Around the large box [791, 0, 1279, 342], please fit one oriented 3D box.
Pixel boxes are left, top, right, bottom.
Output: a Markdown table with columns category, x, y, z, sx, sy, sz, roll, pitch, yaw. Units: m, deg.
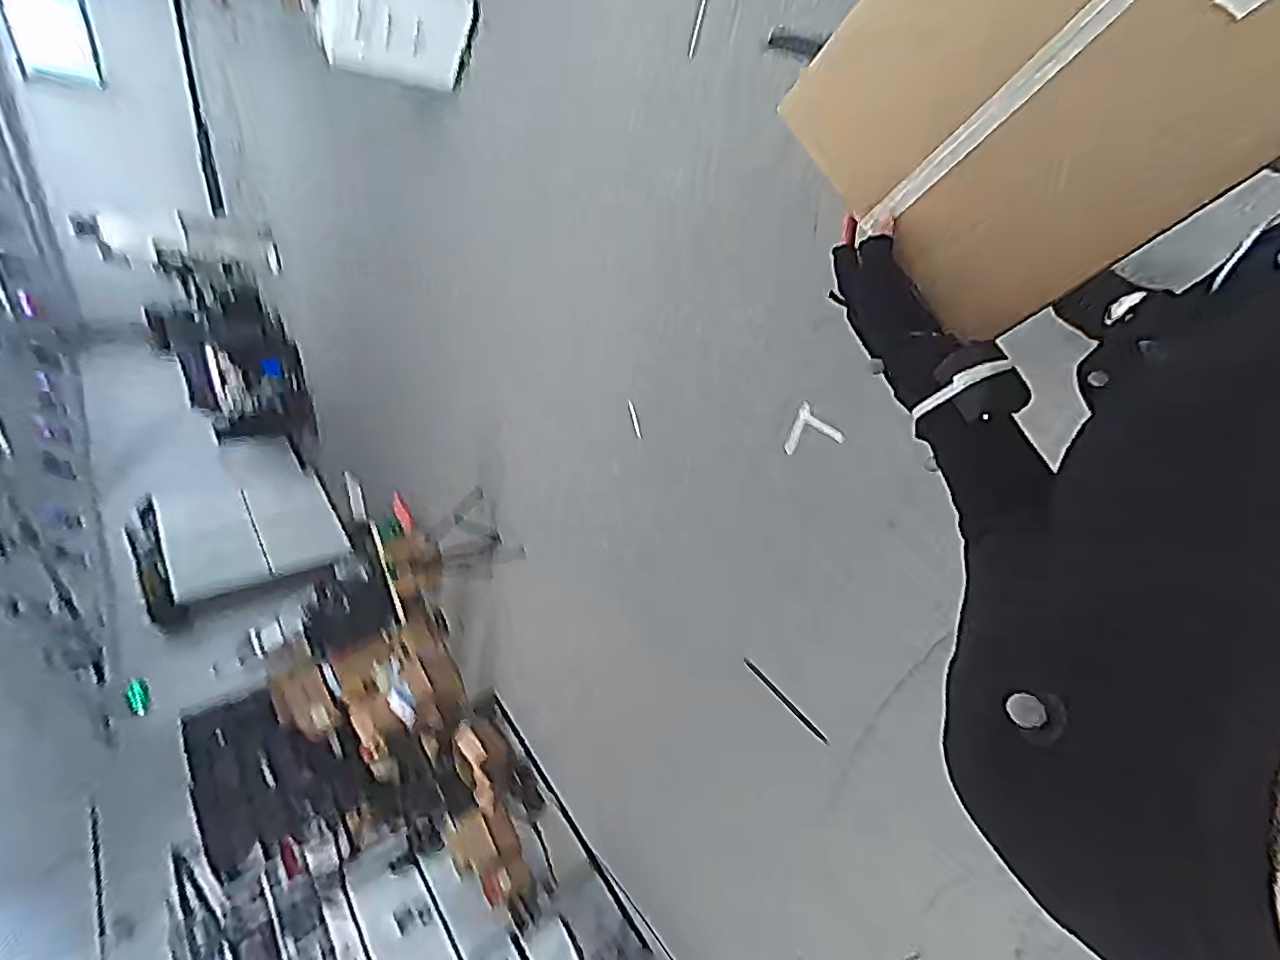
| category | x | y | z | sx | sy | sz | roll | pitch | yaw |
| --- | --- | --- | --- | --- | --- | --- | --- | --- | --- |
| large box | 0.436 | -0.393 | 0.512 | 0.408 | 0.320 | 0.320 | -39 | 82 | 44 |
